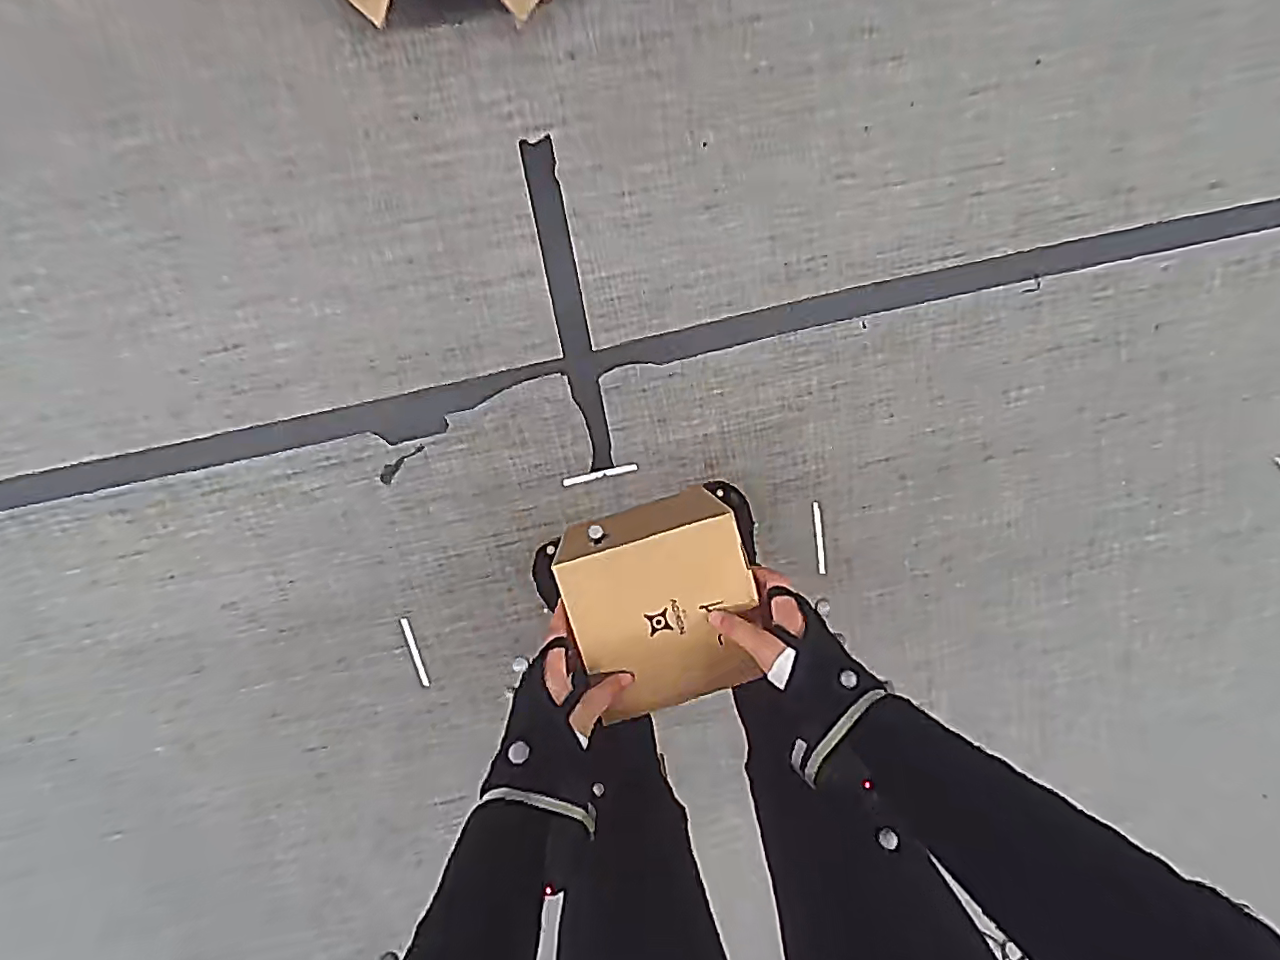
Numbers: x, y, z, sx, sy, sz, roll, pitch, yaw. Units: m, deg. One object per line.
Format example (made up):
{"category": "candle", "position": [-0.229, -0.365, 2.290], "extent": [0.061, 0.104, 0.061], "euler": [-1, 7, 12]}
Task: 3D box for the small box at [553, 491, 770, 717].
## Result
{"category": "small box", "position": [0.018, 0.120, 0.590], "extent": [0.179, 0.176, 0.168], "euler": [-16, 98, -2]}
